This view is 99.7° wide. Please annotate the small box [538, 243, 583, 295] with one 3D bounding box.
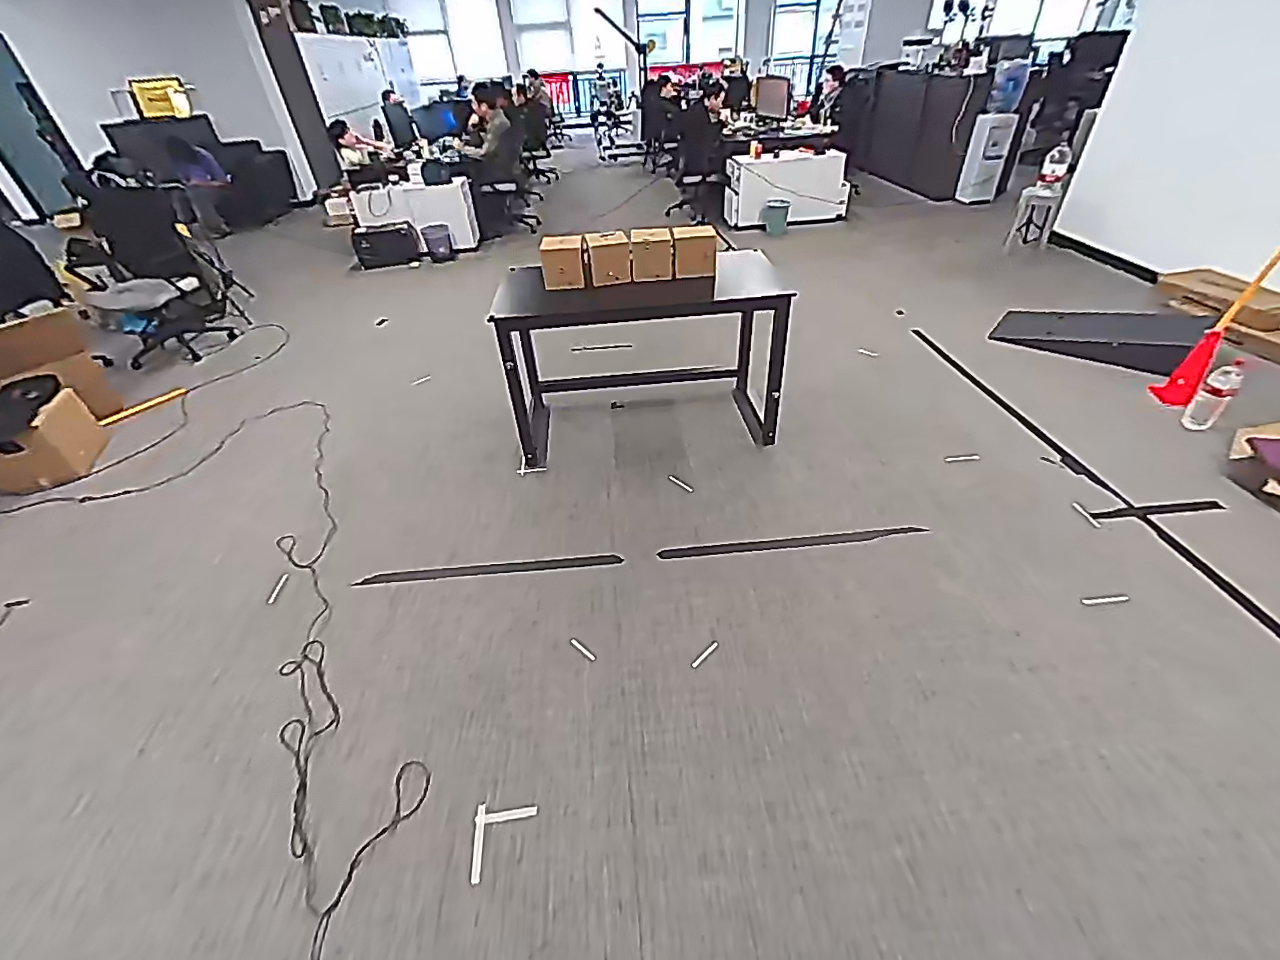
[{"bbox_3d":[-0.336,-0.901,2.320,0.168,0.176,0.179,-4,38,0],"label":"small box"}]
